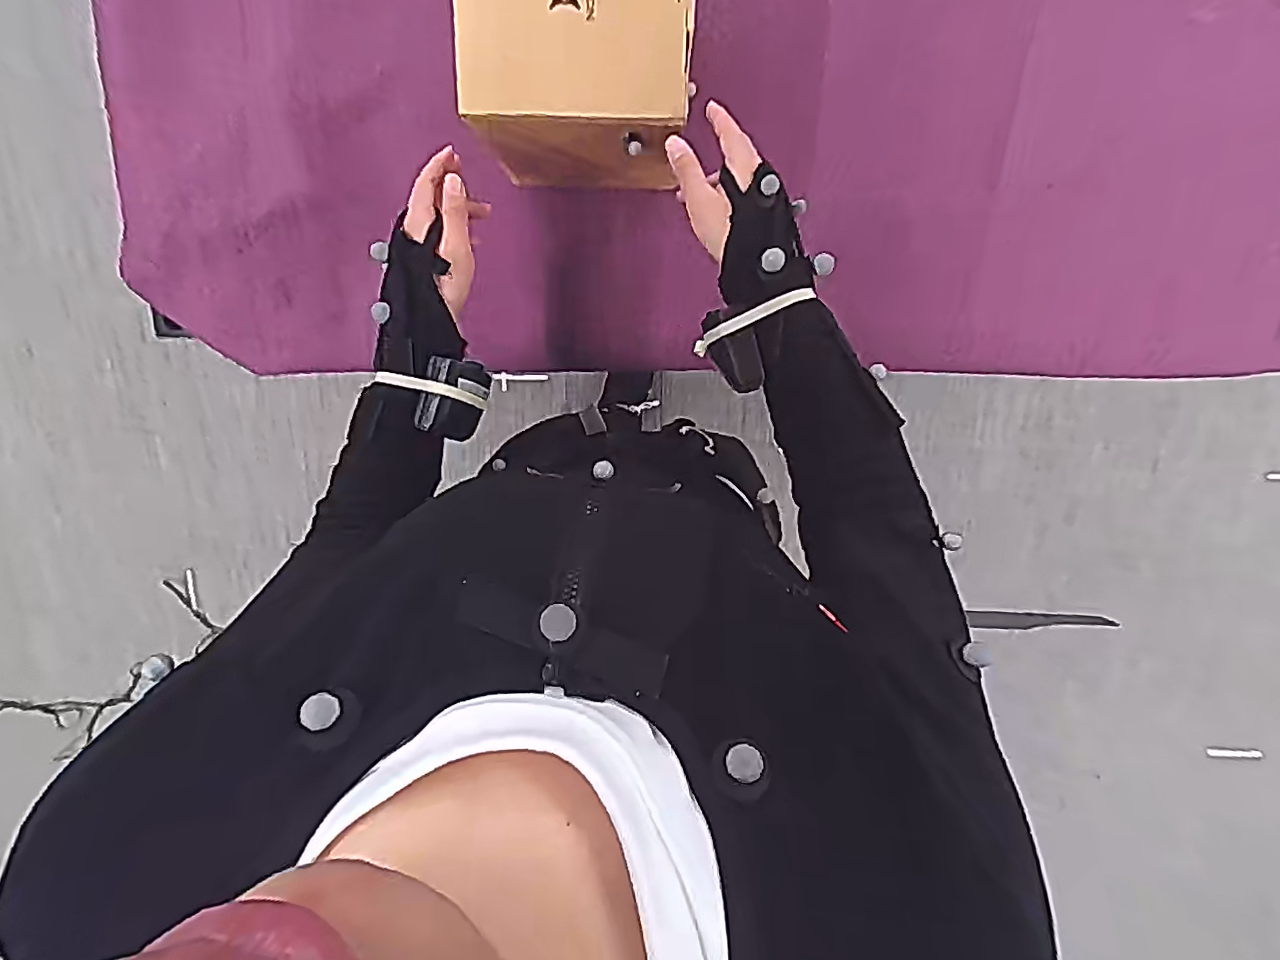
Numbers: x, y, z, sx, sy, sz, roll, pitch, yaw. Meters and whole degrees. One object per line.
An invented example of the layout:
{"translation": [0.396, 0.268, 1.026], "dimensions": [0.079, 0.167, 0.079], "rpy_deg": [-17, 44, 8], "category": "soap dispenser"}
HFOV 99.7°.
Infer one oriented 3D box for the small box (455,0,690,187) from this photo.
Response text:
{"translation": [-0.048, -0.372, 0.473], "dimensions": [0.179, 0.176, 0.168], "rpy_deg": [2, 102, 0], "category": "small box"}
